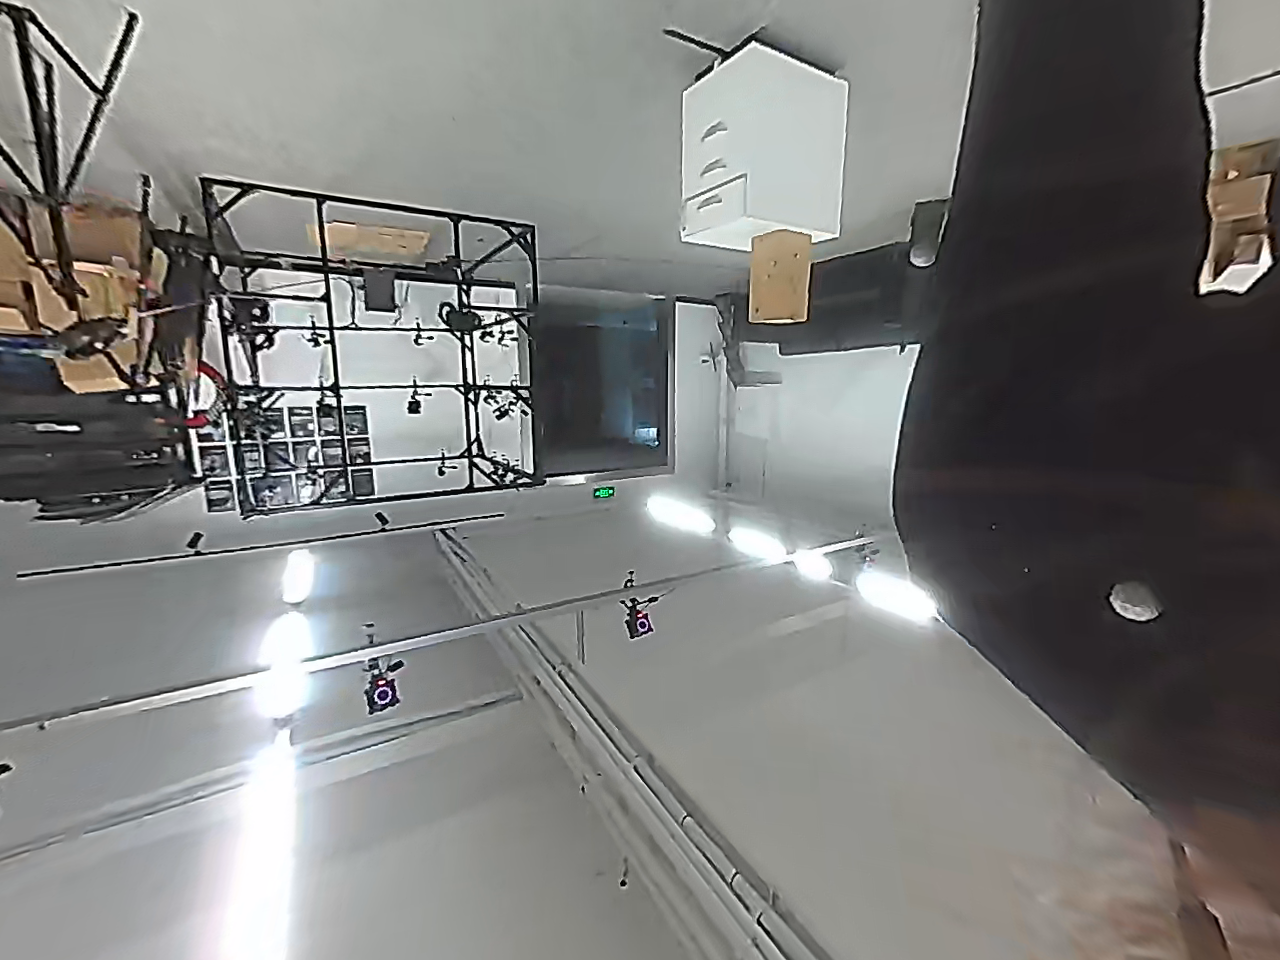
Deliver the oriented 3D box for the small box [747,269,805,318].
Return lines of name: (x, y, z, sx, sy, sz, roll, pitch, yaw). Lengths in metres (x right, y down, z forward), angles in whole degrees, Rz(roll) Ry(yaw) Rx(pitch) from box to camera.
small box: (0.563, -0.764, 2.227, 0.168, 0.176, 0.179, -10, -165, -34)
